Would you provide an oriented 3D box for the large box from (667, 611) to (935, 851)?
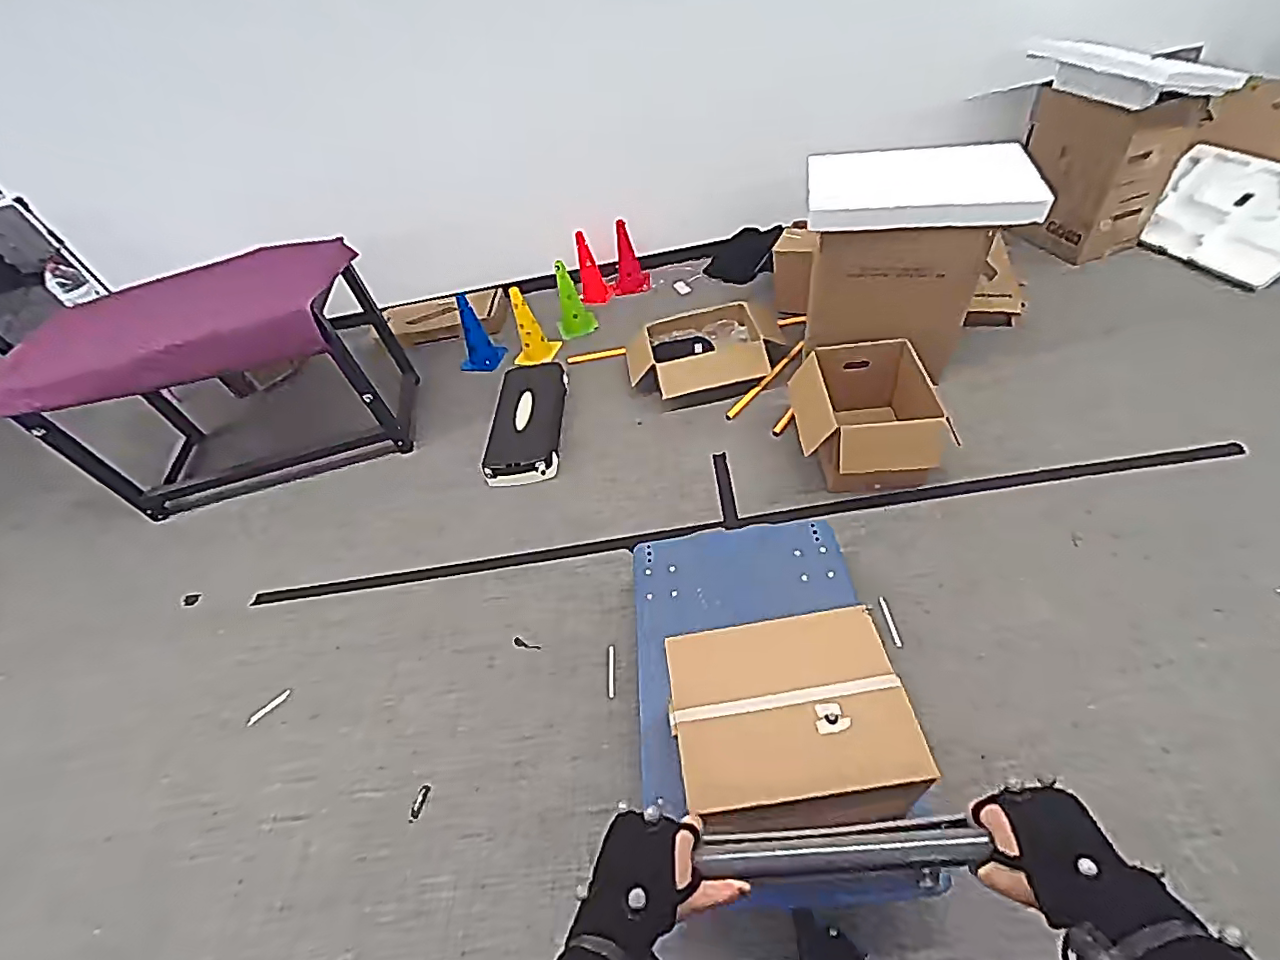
[{"bbox_3d":[0.284,0.504,1.079,0.408,0.320,0.320,-10,47,2],"label":"large box"}]
